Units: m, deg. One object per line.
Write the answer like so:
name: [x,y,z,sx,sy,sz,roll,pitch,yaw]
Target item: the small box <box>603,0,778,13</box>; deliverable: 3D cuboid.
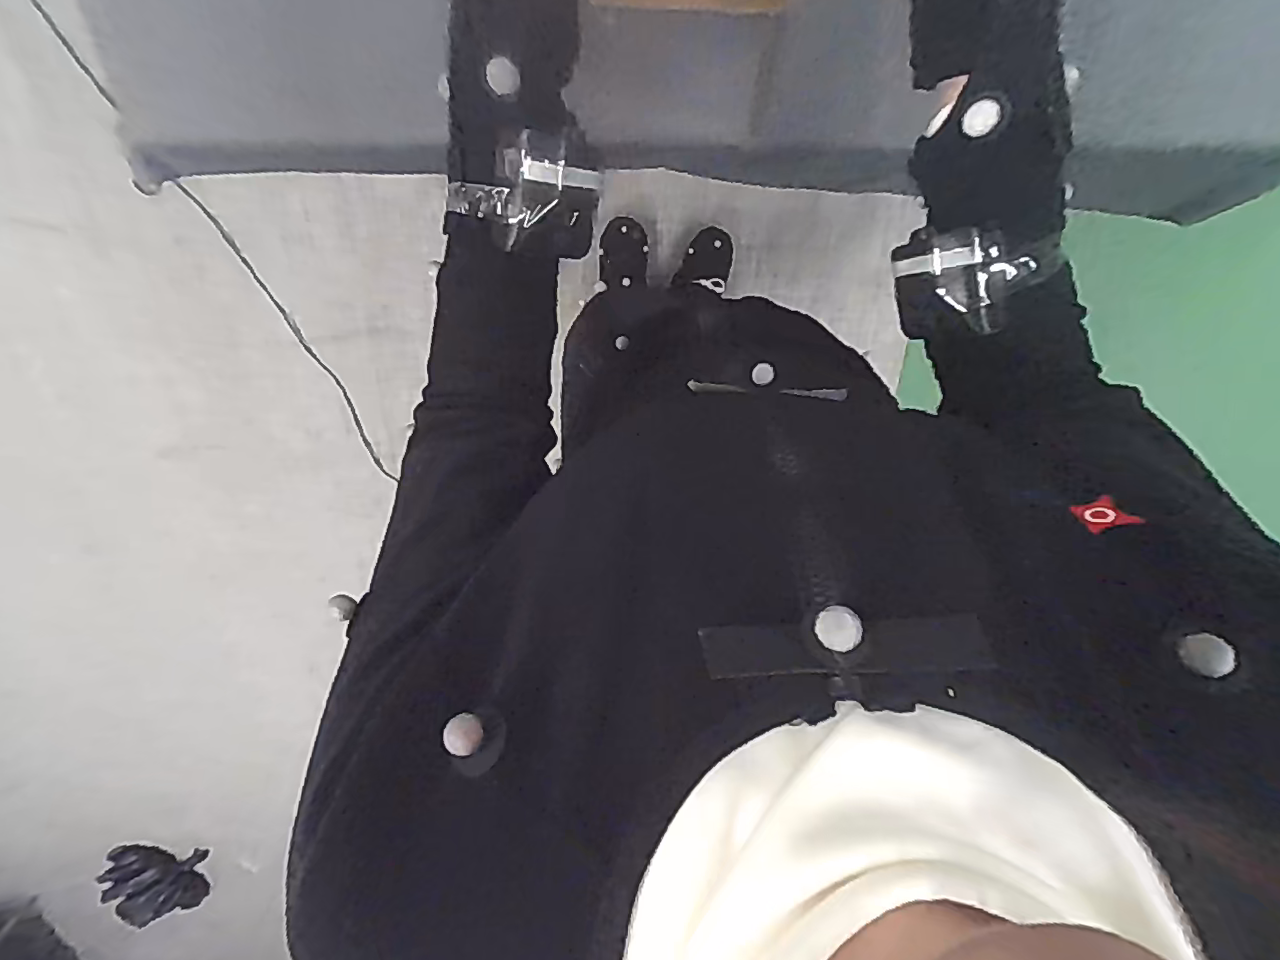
small box: [0.047,-0.469,0.392,0.179,0.176,0.168,1,117,-1]
